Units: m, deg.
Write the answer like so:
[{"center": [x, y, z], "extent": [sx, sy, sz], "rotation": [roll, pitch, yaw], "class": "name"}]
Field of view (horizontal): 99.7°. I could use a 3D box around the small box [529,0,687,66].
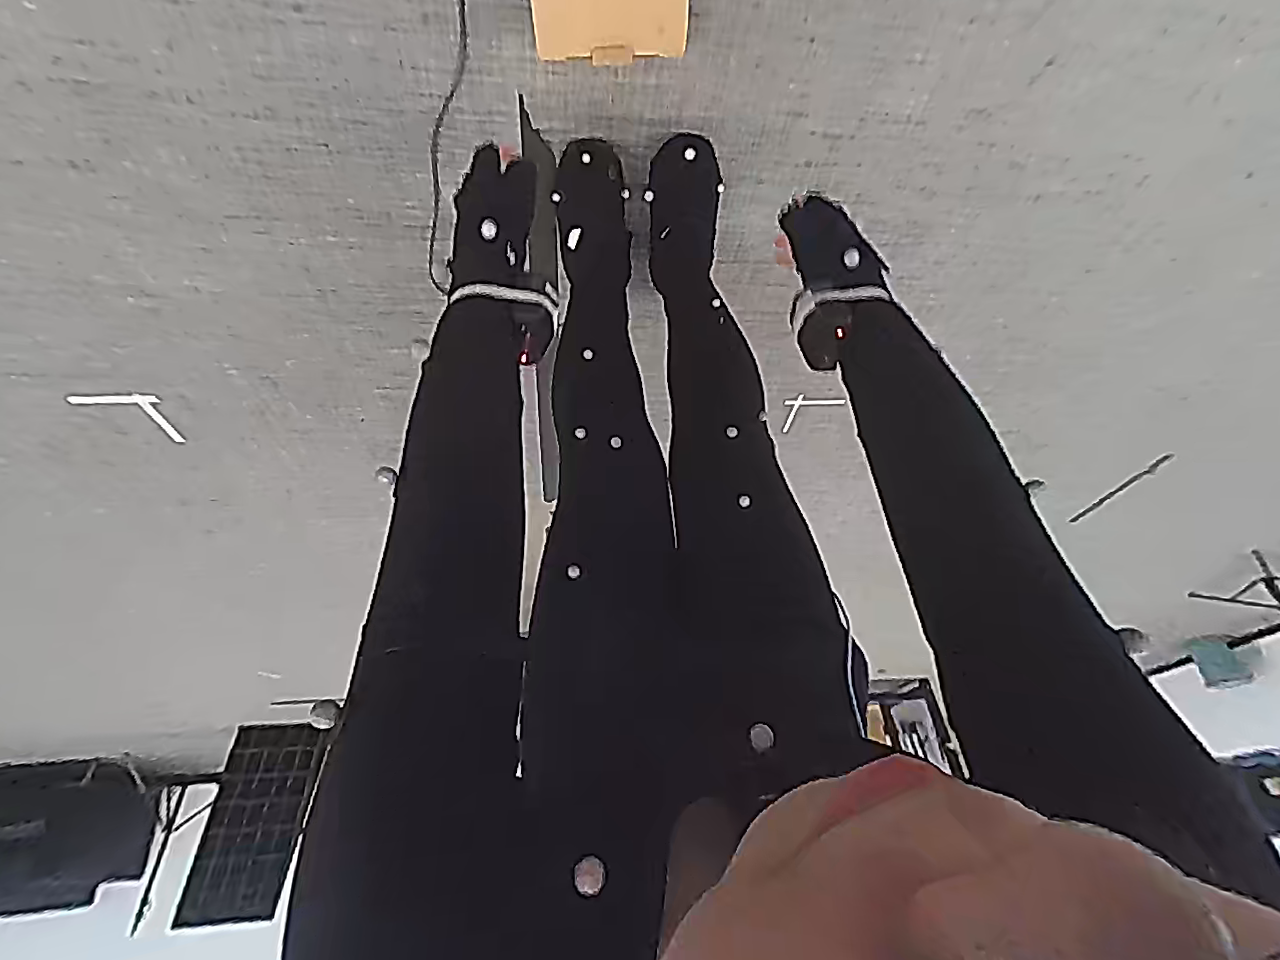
[{"center": [-0.036, -0.575, 0.574], "extent": [0.168, 0.176, 0.179], "rotation": [-4, 144, -4], "class": "small box"}]
